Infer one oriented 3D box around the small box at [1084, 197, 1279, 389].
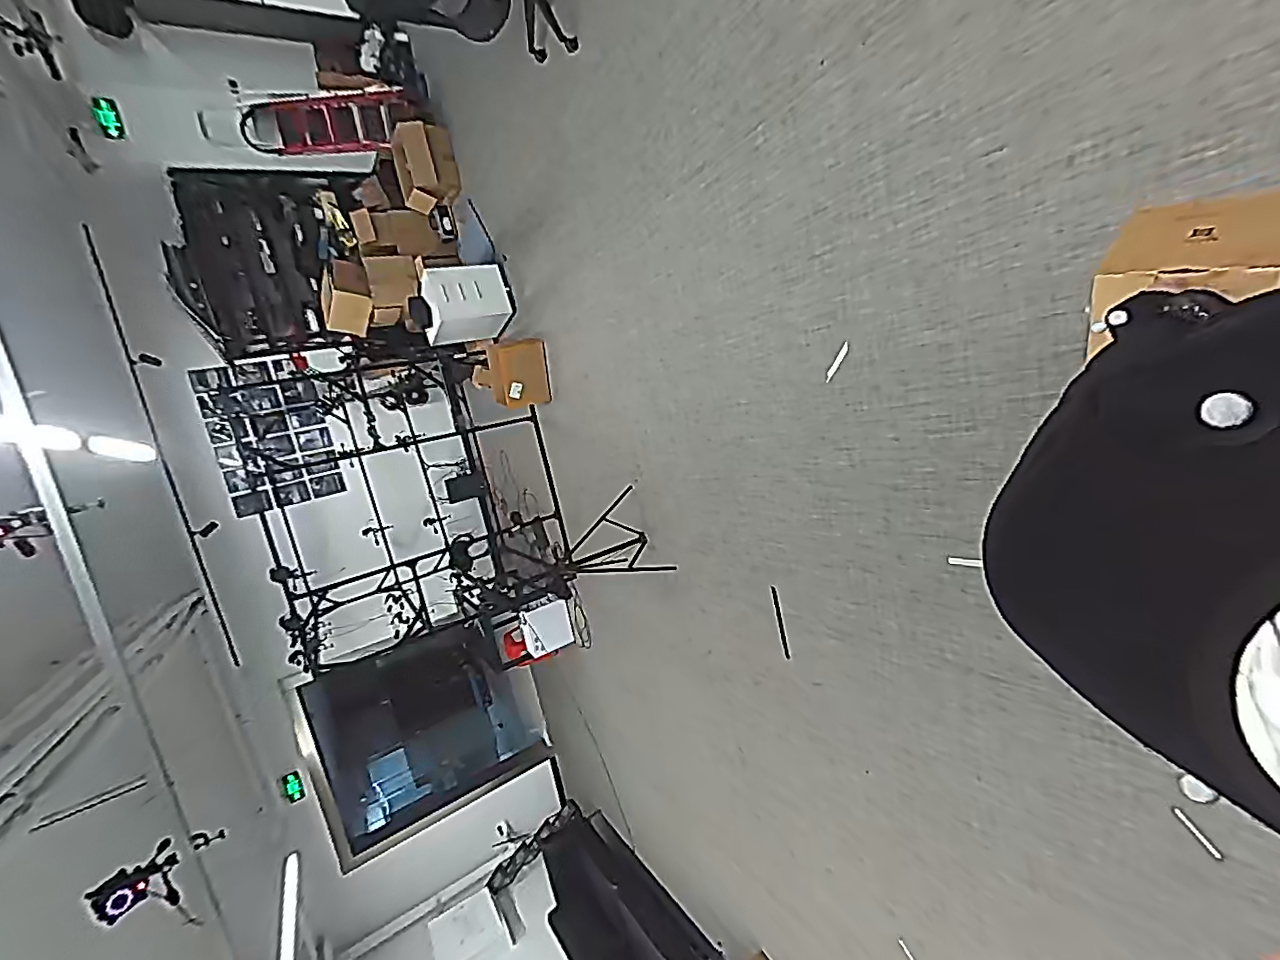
[{"bbox_3d":[0.714,-0.239,0.712,0.168,0.179,0.176,20,147,46],"label":"small box"}]
